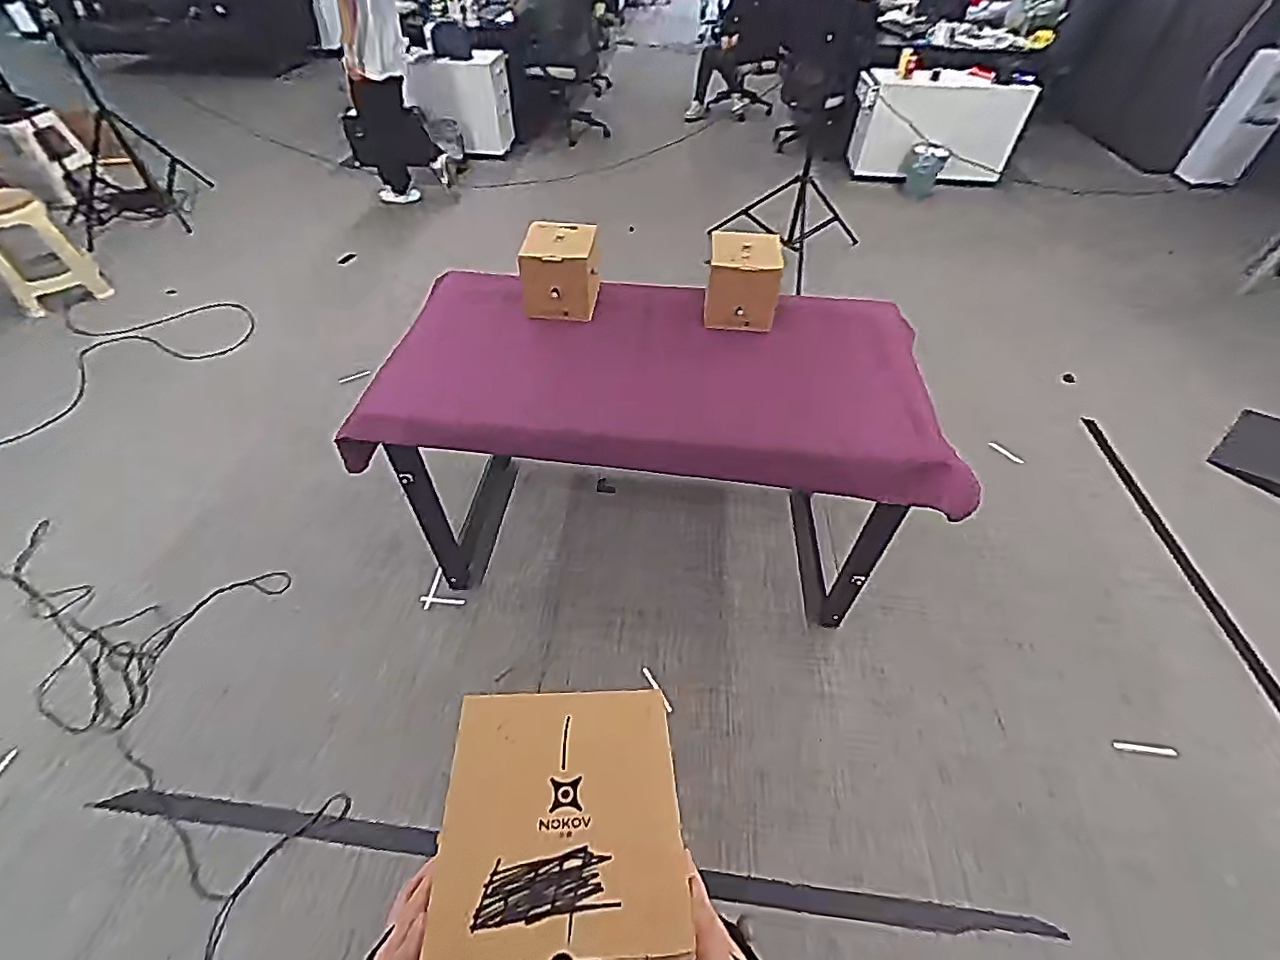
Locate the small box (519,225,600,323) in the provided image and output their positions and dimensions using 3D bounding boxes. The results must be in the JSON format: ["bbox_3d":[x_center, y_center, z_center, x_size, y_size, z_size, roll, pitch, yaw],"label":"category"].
[{"bbox_3d":[-0.193,-0.515,1.361,0.168,0.176,0.179,5,51,2],"label":"small box"}]

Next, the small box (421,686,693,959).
[{"bbox_3d":[-0.060,0.291,0.433,0.168,0.176,0.179,1,38,-7],"label":"small box"}]

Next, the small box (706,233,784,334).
[{"bbox_3d":[0.254,-0.489,1.345,0.168,0.176,0.179,4,50,4],"label":"small box"}]
